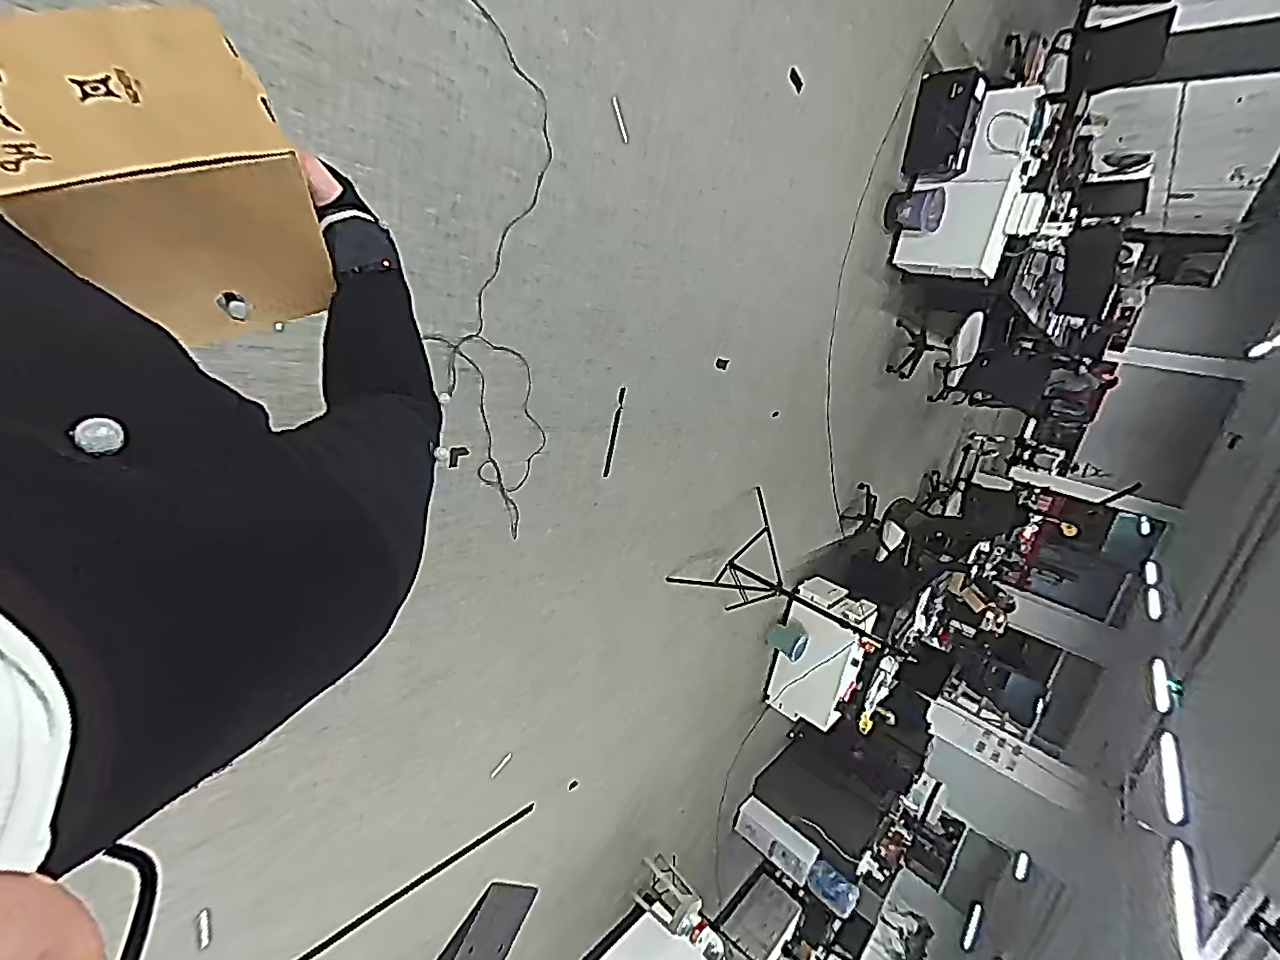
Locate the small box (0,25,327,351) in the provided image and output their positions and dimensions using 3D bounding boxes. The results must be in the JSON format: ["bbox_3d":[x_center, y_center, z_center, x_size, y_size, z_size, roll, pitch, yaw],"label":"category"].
[{"bbox_3d":[-0.395,-0.242,0.463,0.179,0.168,0.176,-28,166,-26],"label":"small box"}]
